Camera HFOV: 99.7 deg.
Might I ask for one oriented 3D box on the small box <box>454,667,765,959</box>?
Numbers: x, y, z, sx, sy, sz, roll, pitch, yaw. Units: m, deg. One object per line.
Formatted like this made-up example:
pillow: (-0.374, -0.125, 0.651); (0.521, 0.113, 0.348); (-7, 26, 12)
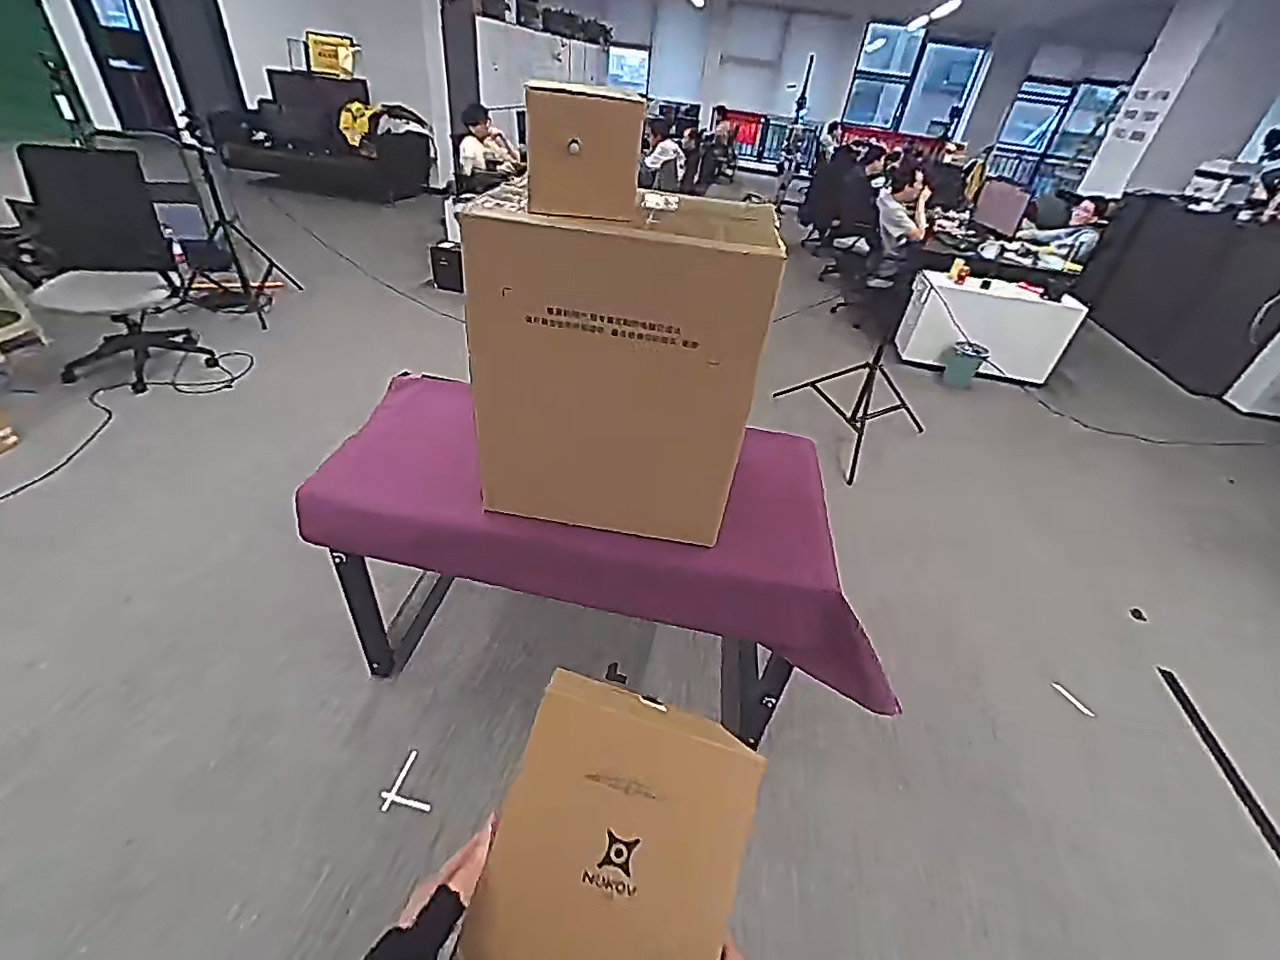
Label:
small box: (-0.022, 0.265, 0.433); (0.168, 0.176, 0.179); (19, 74, -2)

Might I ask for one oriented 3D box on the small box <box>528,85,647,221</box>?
small box: (-0.088, -0.537, 0.892); (0.179, 0.176, 0.168); (0, 39, -8)
